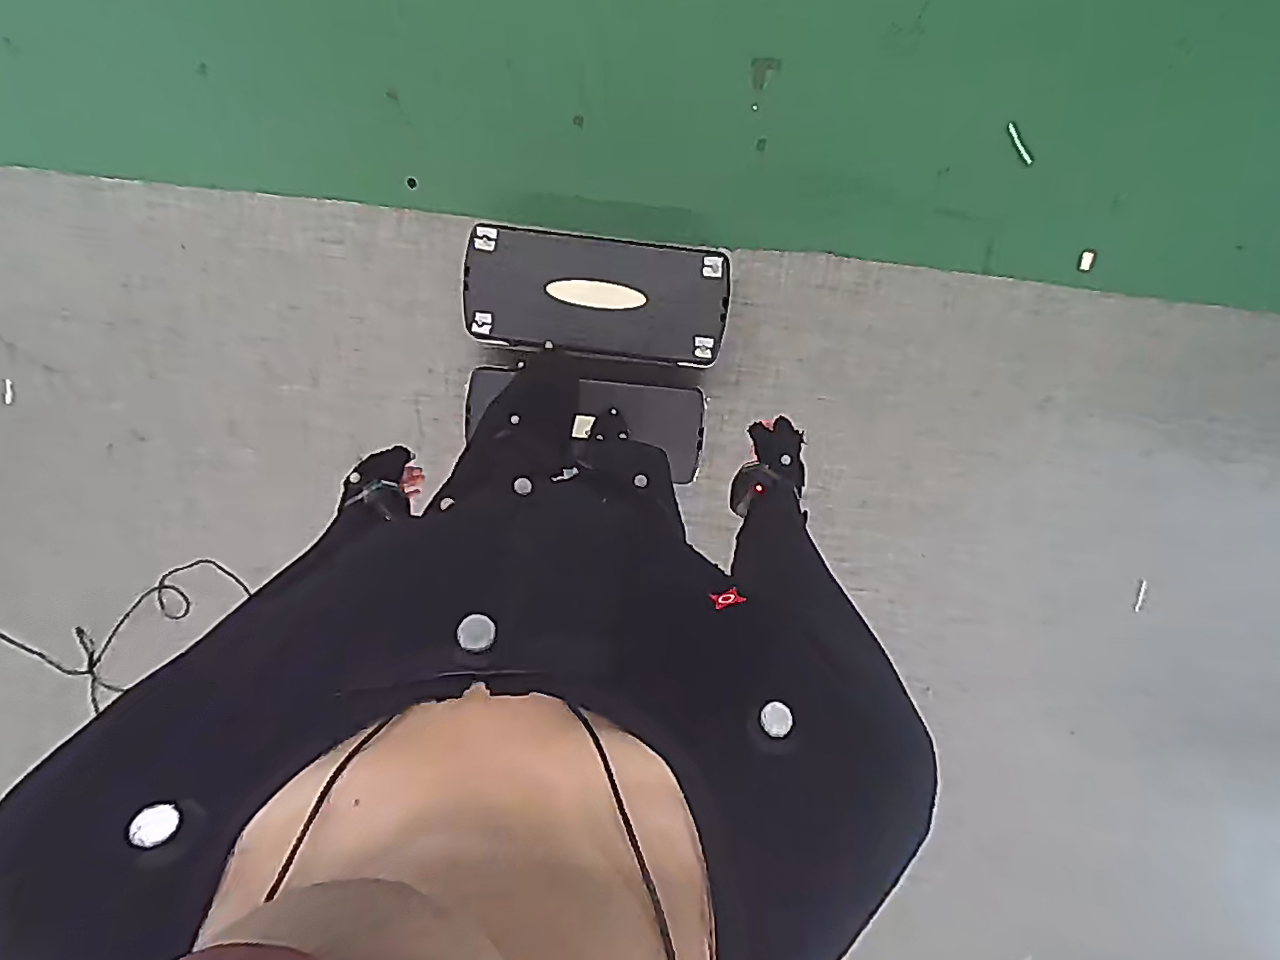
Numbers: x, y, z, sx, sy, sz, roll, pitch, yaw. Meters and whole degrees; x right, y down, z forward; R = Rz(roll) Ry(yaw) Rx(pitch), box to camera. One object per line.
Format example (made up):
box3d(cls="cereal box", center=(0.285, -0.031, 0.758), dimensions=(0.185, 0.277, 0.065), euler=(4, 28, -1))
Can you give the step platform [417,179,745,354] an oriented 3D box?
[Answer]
box3d(cls="step platform", center=(-0.124, -0.460, 1.215), dimensions=(0.684, 0.204, 0.286), euler=(6, 100, -1))
